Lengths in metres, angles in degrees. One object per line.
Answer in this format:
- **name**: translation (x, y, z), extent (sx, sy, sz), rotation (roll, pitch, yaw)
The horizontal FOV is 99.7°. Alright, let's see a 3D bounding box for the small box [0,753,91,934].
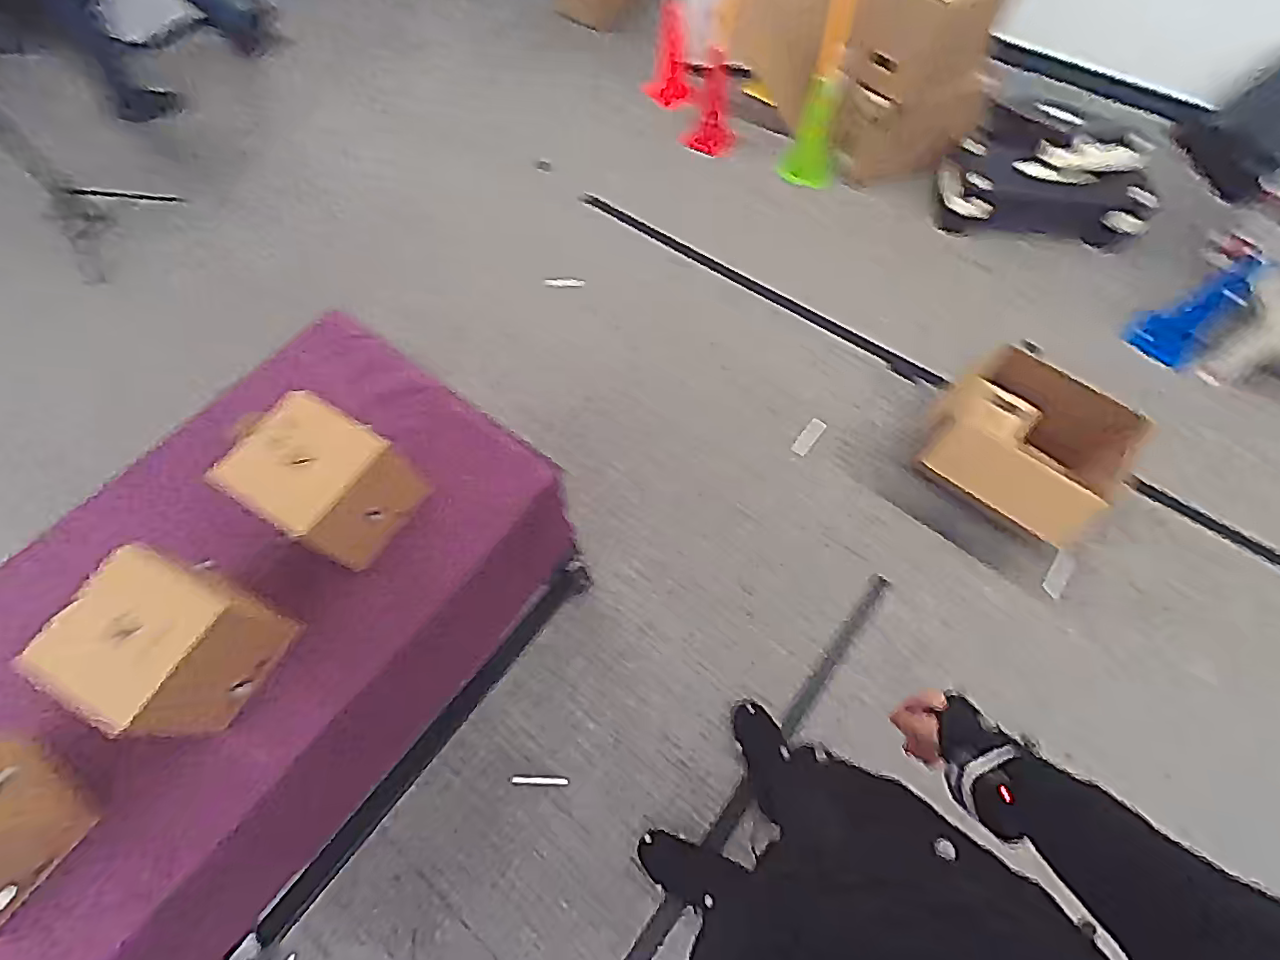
- **small box**: translation (-0.821, 0.437, 0.622), extent (0.179, 0.176, 0.168), rotation (30, 70, 14)

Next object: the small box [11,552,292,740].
- **small box**: translation (-0.622, 0.223, 0.715), extent (0.179, 0.176, 0.168), rotation (24, 69, 12)

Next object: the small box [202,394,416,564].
- **small box**: translation (-0.474, 0.009, 0.806), extent (0.179, 0.176, 0.168), rotation (28, 69, 14)
